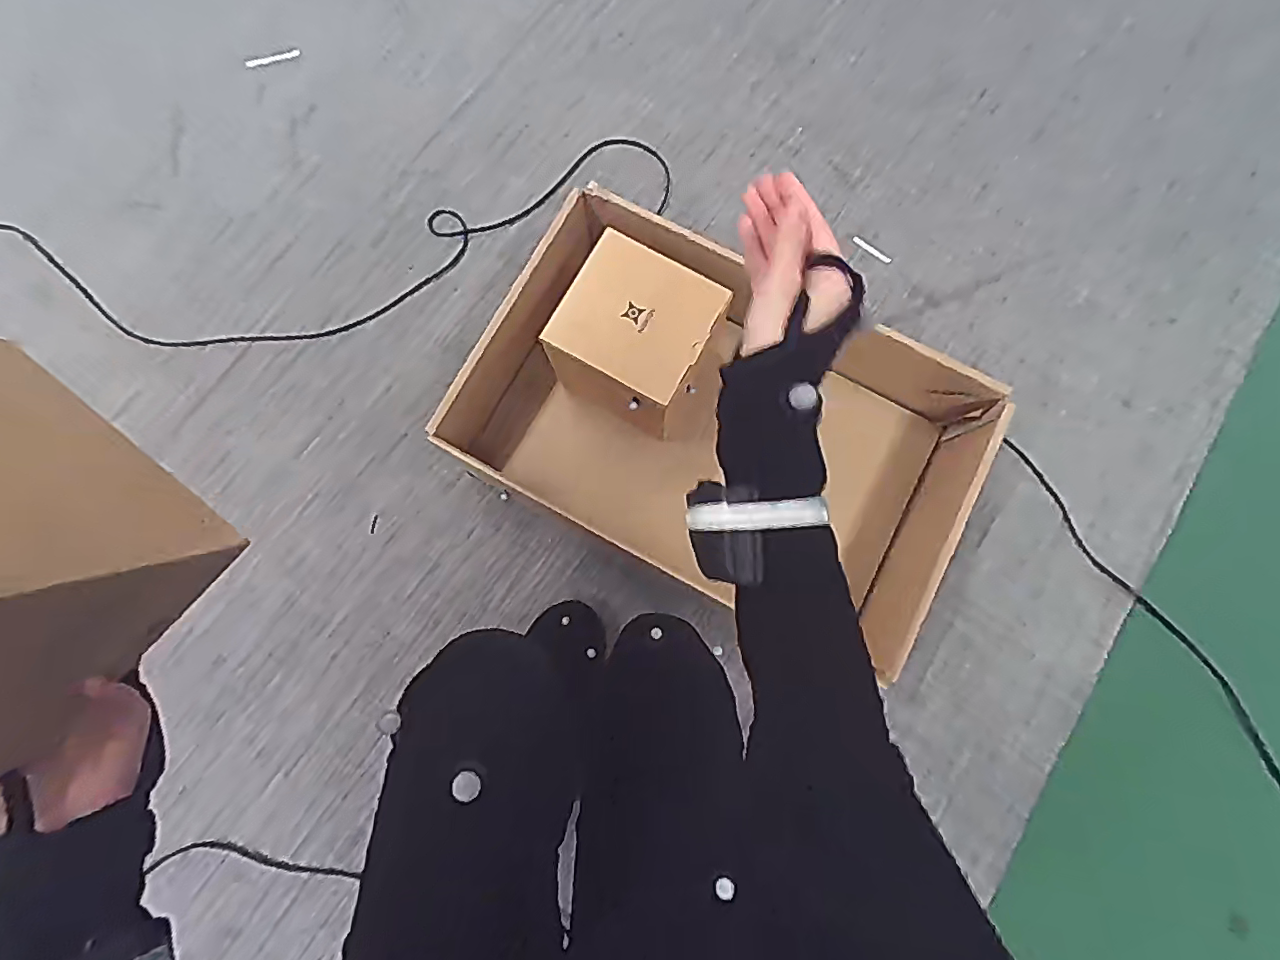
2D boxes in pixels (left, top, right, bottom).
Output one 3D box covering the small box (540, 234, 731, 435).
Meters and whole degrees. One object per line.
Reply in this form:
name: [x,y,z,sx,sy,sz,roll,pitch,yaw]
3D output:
small box: [-0.006,-0.178,0.718,0.179,0.176,0.168,29,82,3]
